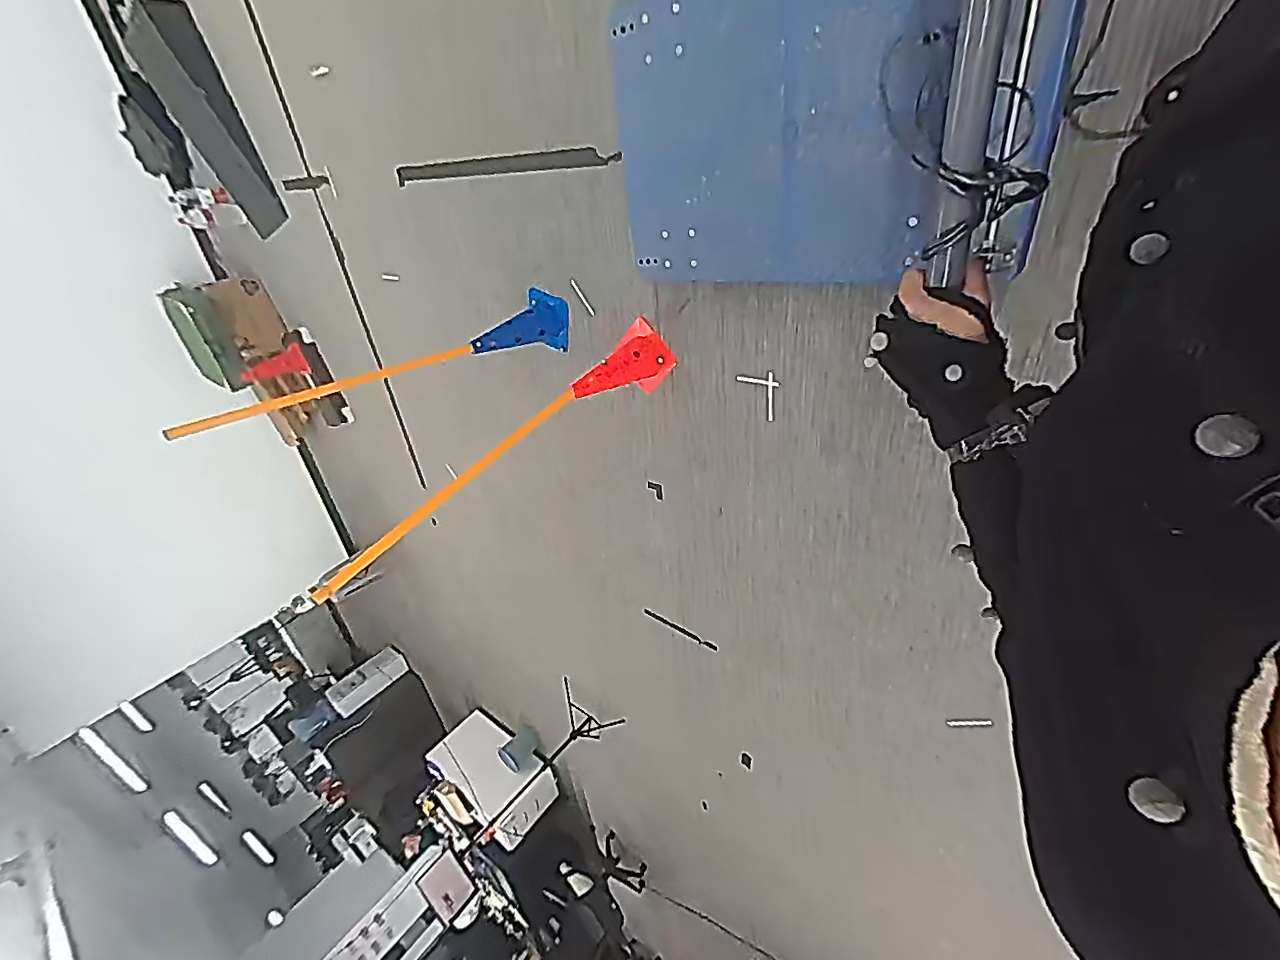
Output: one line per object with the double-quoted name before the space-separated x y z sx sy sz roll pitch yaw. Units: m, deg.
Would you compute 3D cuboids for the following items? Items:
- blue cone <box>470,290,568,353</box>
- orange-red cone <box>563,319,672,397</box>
"blue cone" -0.442 -0.521 1.896 0.192 0.380 0.193 31 135 24
"orange-red cone" -0.103 -0.334 1.680 0.199 0.360 0.198 53 139 3
